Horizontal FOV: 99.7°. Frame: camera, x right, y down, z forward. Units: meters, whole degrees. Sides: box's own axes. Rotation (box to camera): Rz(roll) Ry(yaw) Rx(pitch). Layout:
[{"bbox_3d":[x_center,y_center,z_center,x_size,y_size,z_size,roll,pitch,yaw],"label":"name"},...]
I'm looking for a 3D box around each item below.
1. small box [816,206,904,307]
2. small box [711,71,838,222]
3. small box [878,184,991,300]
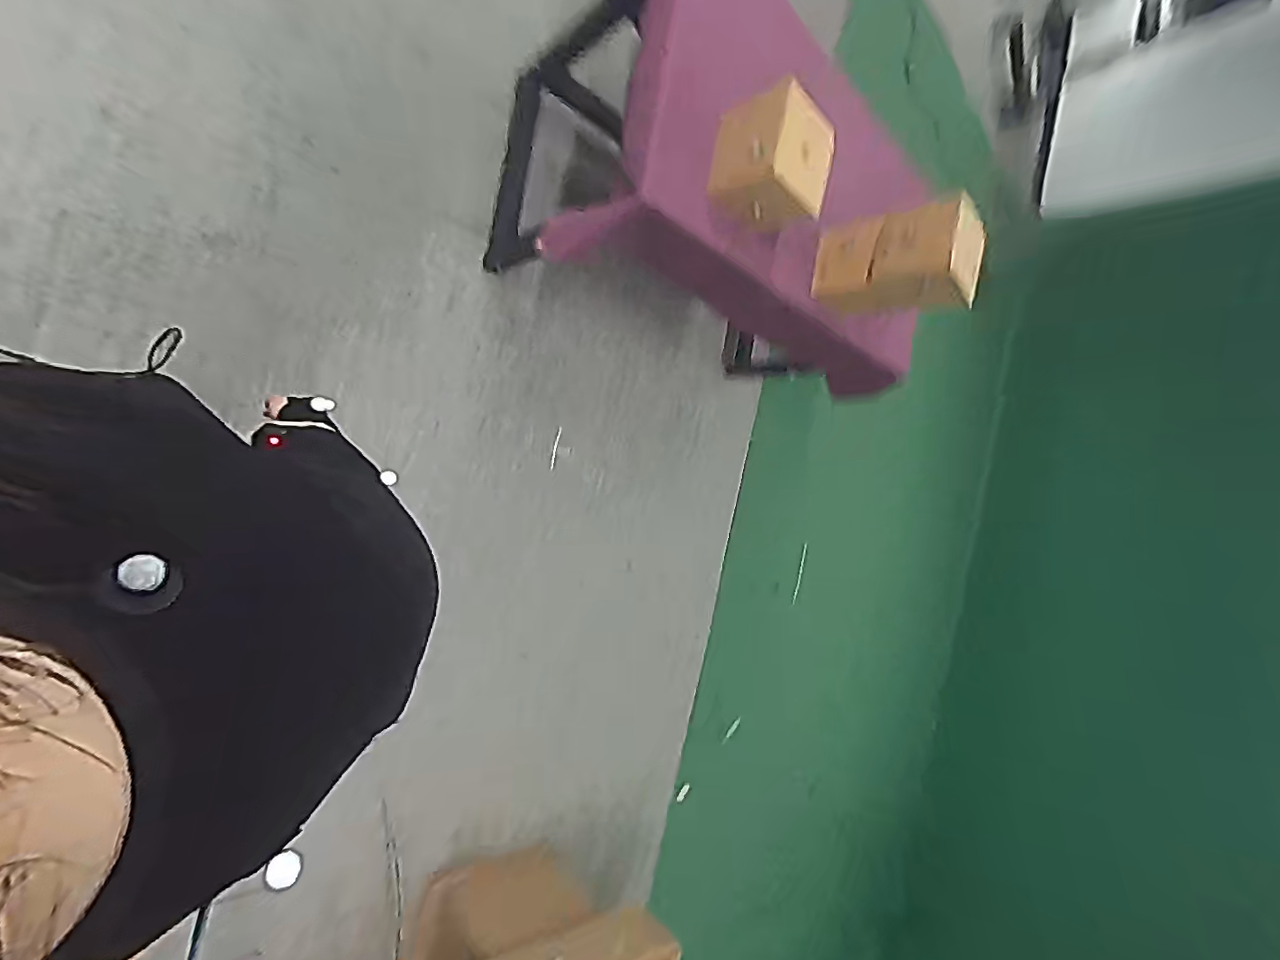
[{"bbox_3d":[0.569,-0.550,1.364,0.179,0.176,0.168,12,88,-42],"label":"small box"},{"bbox_3d":[0.264,-0.647,1.080,0.168,0.176,0.179,14,87,-42],"label":"small box"},{"bbox_3d":[0.671,-0.530,1.237,0.179,0.176,0.168,19,84,-41],"label":"small box"}]
